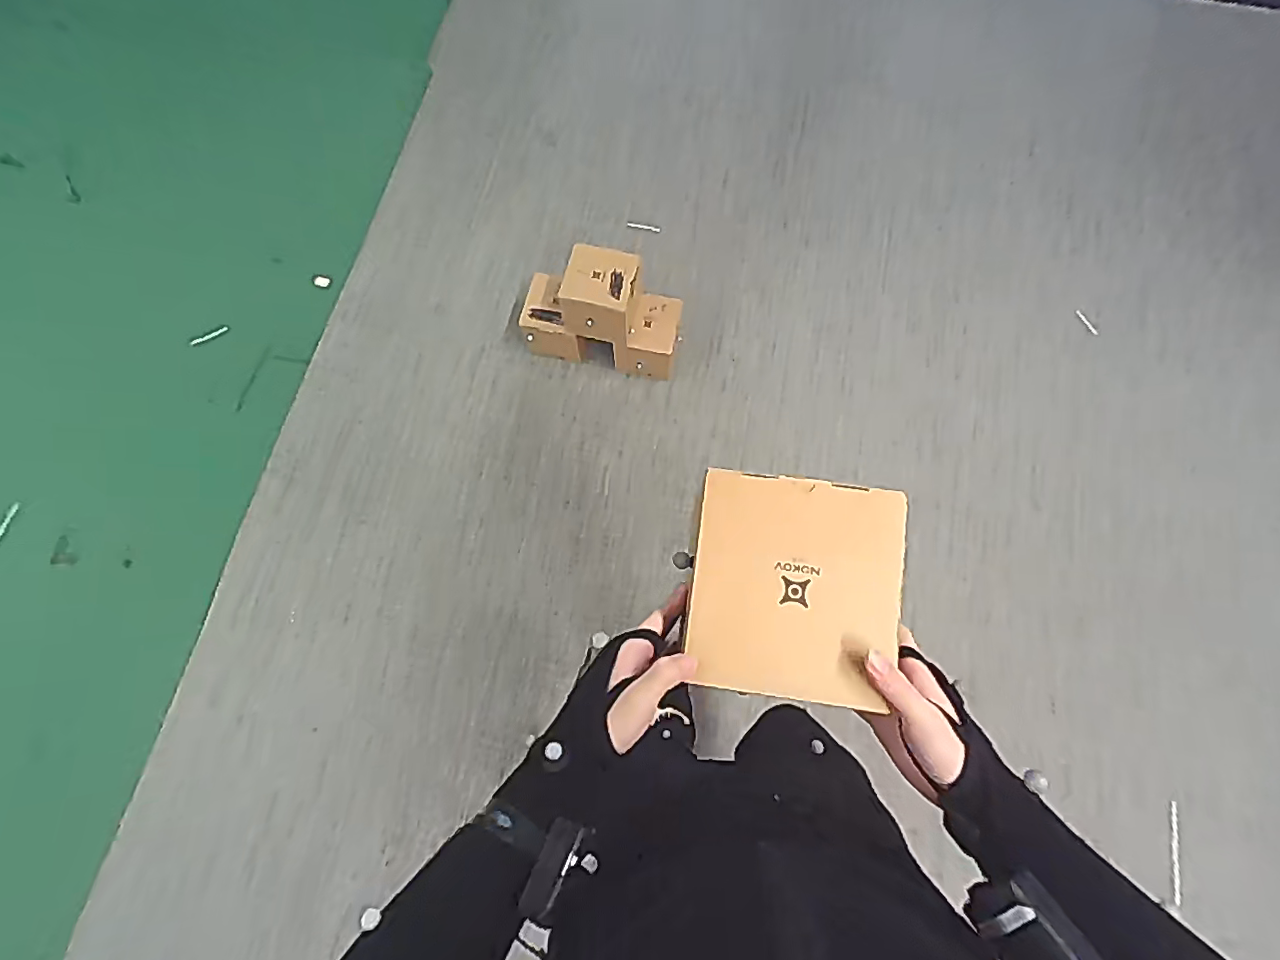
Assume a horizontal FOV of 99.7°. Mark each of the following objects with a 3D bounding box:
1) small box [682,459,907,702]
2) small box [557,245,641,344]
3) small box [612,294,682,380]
[{"bbox_3d":[0.132,0.090,0.513,0.168,0.176,0.179,7,80,4],"label":"small box"},{"bbox_3d":[-0.101,-0.479,1.422,0.179,0.176,0.168,13,75,4],"label":"small box"},{"bbox_3d":[0.023,-0.412,1.574,0.168,0.176,0.179,12,75,3],"label":"small box"}]
